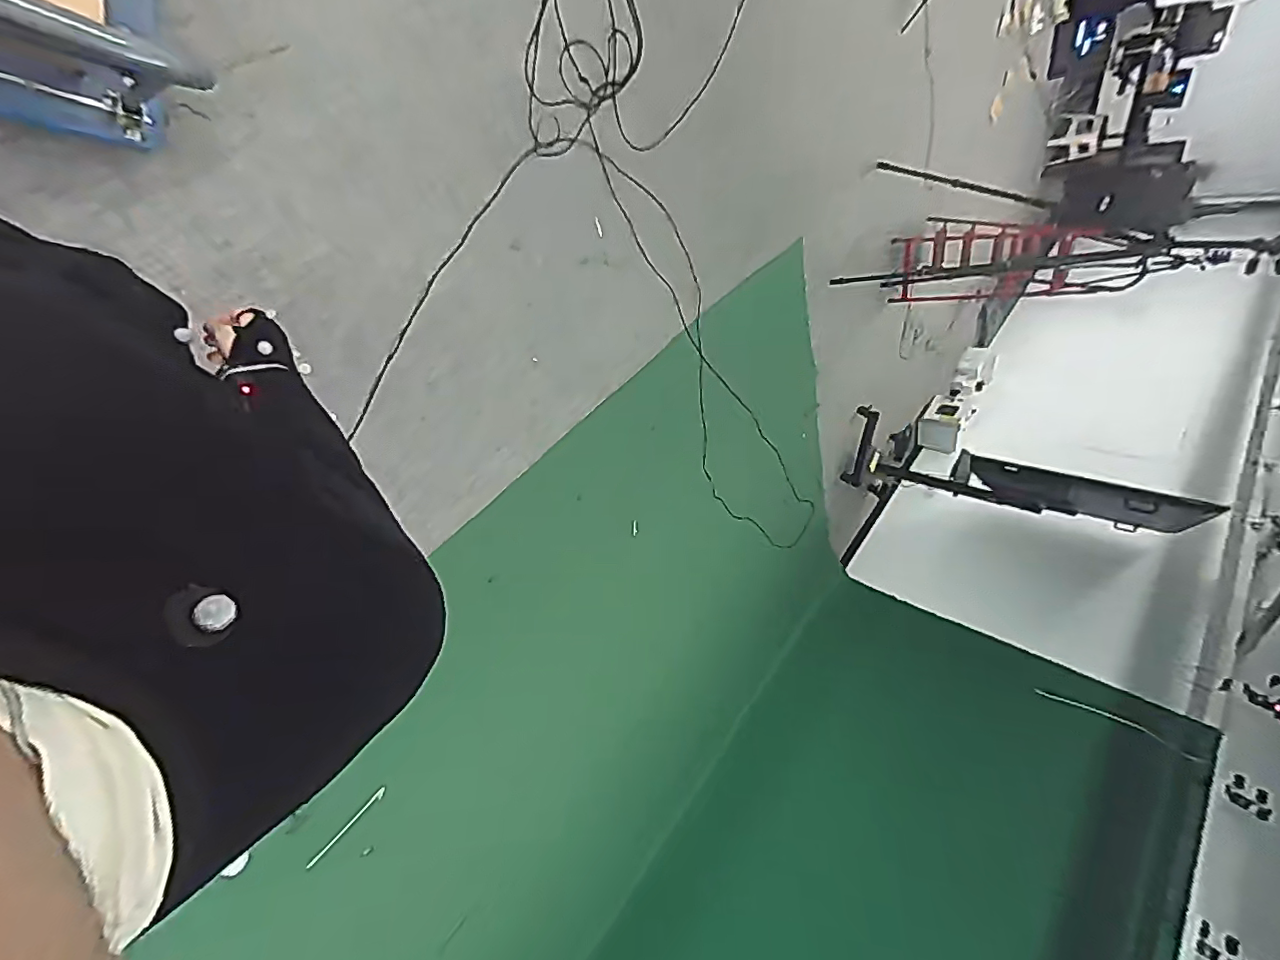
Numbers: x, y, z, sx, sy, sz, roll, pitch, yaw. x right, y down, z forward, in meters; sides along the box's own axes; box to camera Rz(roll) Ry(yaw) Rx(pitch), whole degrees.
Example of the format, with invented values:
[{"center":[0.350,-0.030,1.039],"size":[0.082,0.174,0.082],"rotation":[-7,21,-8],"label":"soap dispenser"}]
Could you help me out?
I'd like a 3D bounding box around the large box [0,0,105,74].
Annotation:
[{"center":[-0.943,-0.846,0.701],"size":[0.320,0.320,0.408],"rotation":[-7,110,-48],"label":"large box"}]
